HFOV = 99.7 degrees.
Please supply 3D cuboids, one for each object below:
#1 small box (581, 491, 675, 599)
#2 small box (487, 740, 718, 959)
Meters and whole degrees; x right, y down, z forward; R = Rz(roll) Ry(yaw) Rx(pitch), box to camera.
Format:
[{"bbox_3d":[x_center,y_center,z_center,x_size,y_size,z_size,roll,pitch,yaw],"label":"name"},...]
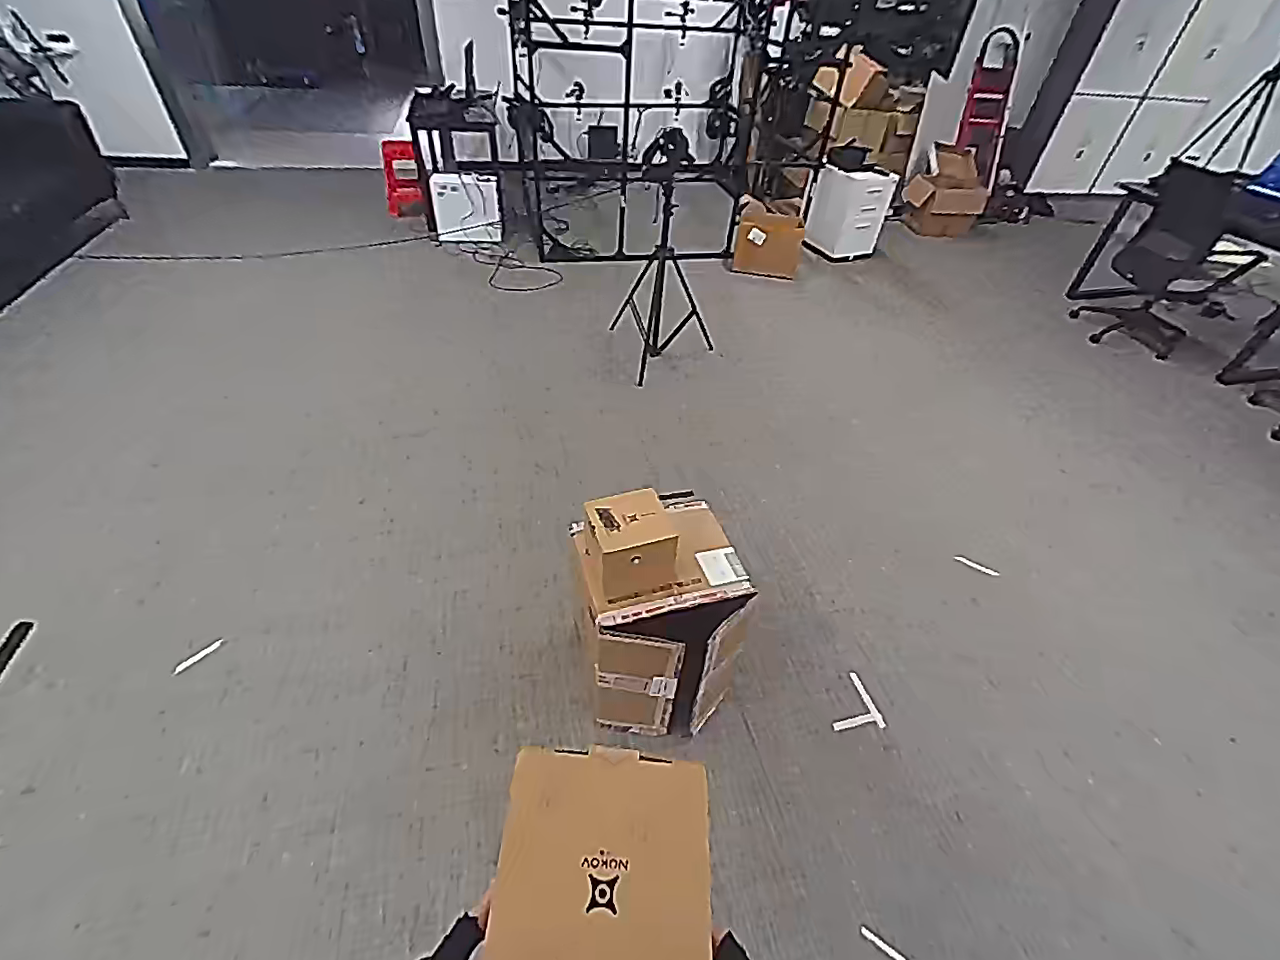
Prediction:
[{"bbox_3d":[-0.031,0.153,1.259,0.179,0.176,0.168,-12,43,-16],"label":"small box"},{"bbox_3d":[-0.035,0.350,0.472,0.168,0.176,0.179,8,49,-5],"label":"small box"}]
